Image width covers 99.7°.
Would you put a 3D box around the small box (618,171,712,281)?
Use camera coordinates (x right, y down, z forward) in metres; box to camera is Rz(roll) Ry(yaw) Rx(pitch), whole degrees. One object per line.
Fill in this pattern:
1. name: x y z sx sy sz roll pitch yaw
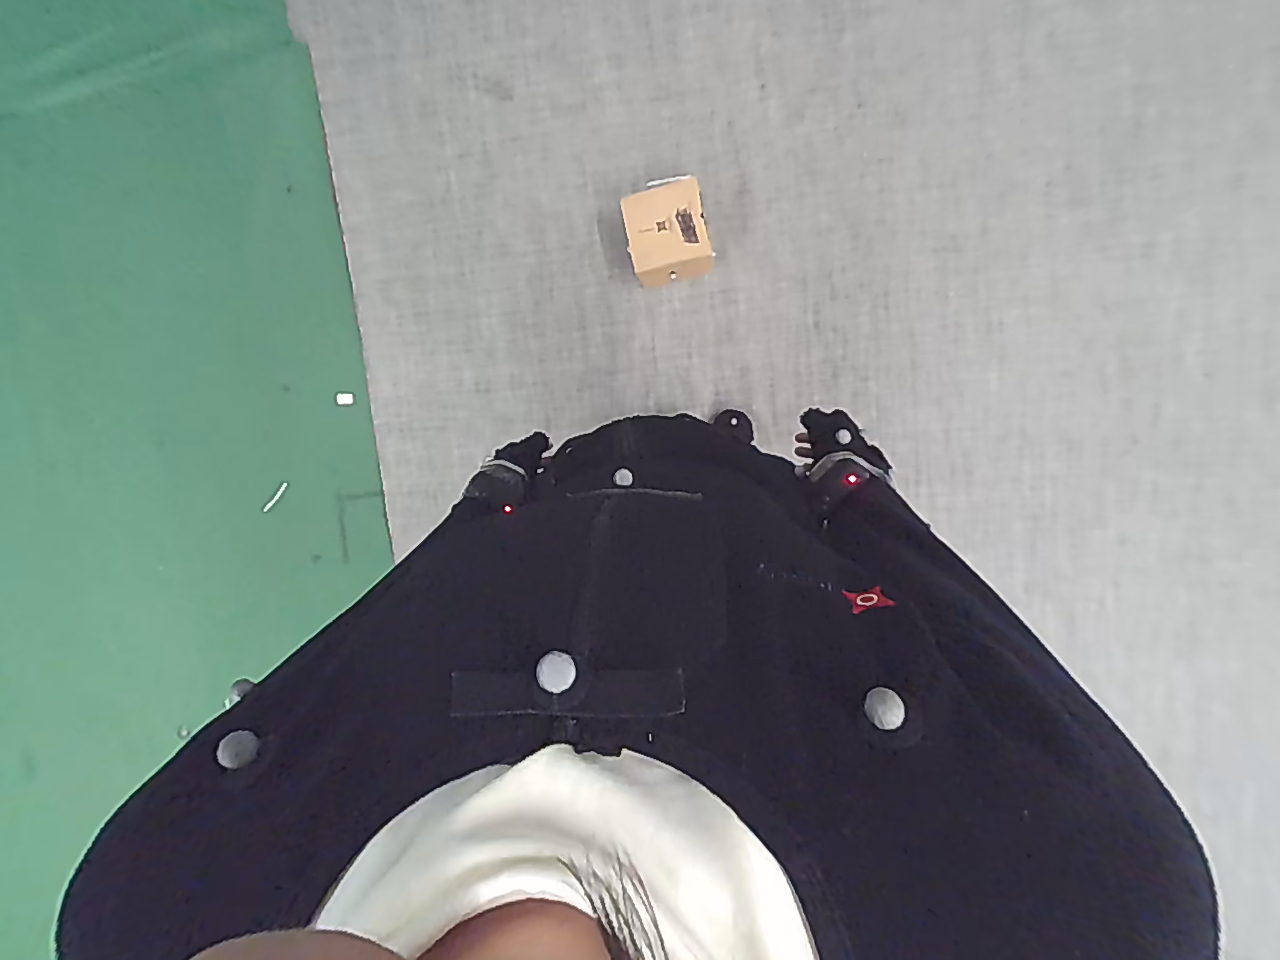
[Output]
1. small box: 0.062 -0.583 1.264 0.179 0.176 0.168 -15 97 9
